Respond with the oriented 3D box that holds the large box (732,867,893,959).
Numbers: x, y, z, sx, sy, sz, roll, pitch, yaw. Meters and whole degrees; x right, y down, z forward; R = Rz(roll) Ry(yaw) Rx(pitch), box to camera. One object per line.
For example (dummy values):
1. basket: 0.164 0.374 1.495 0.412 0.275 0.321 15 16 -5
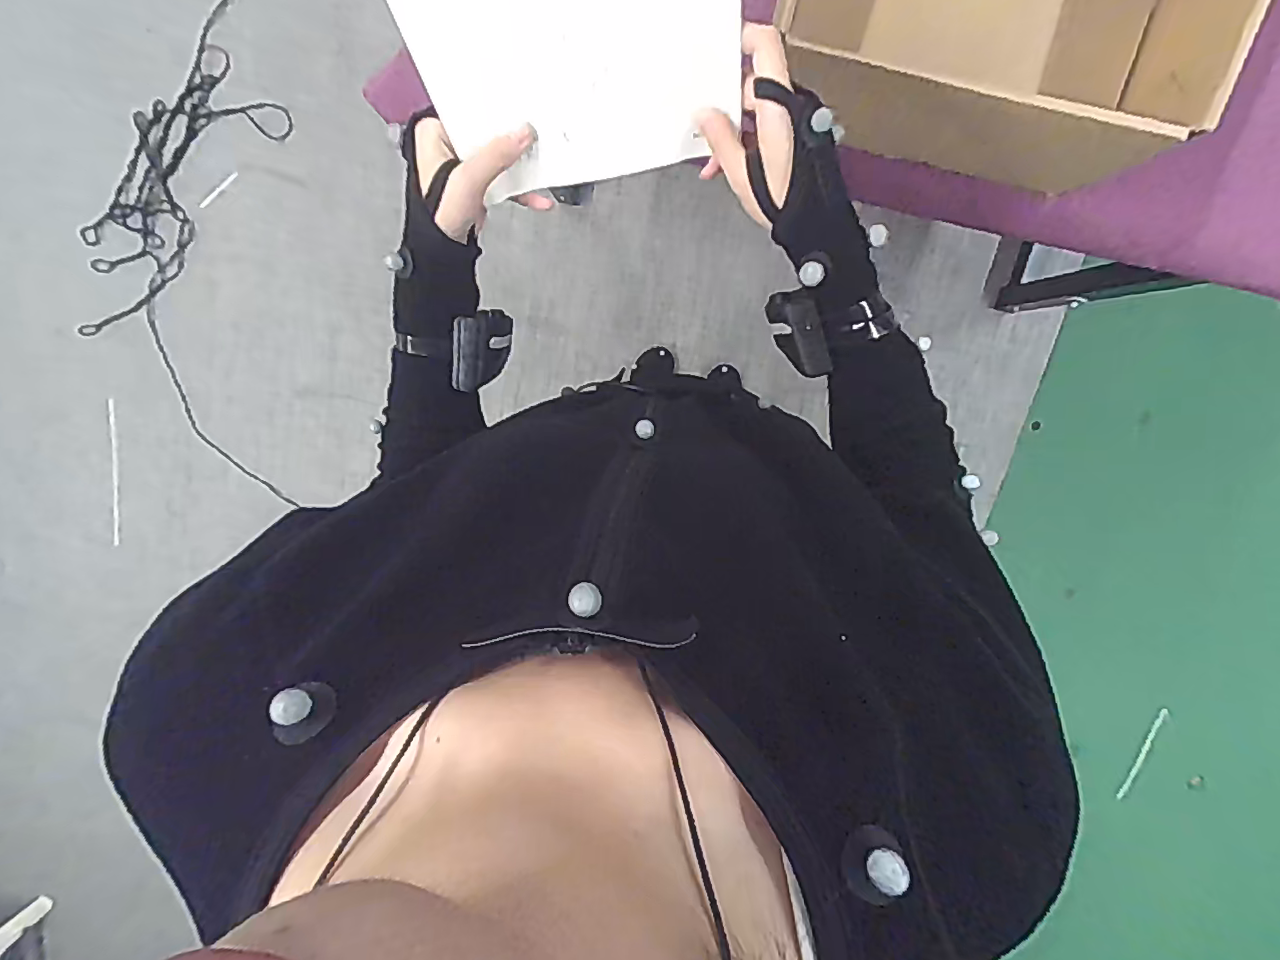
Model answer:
1. large box: 0.493 1.416 1.607 0.408 0.320 0.320 -2 102 3
